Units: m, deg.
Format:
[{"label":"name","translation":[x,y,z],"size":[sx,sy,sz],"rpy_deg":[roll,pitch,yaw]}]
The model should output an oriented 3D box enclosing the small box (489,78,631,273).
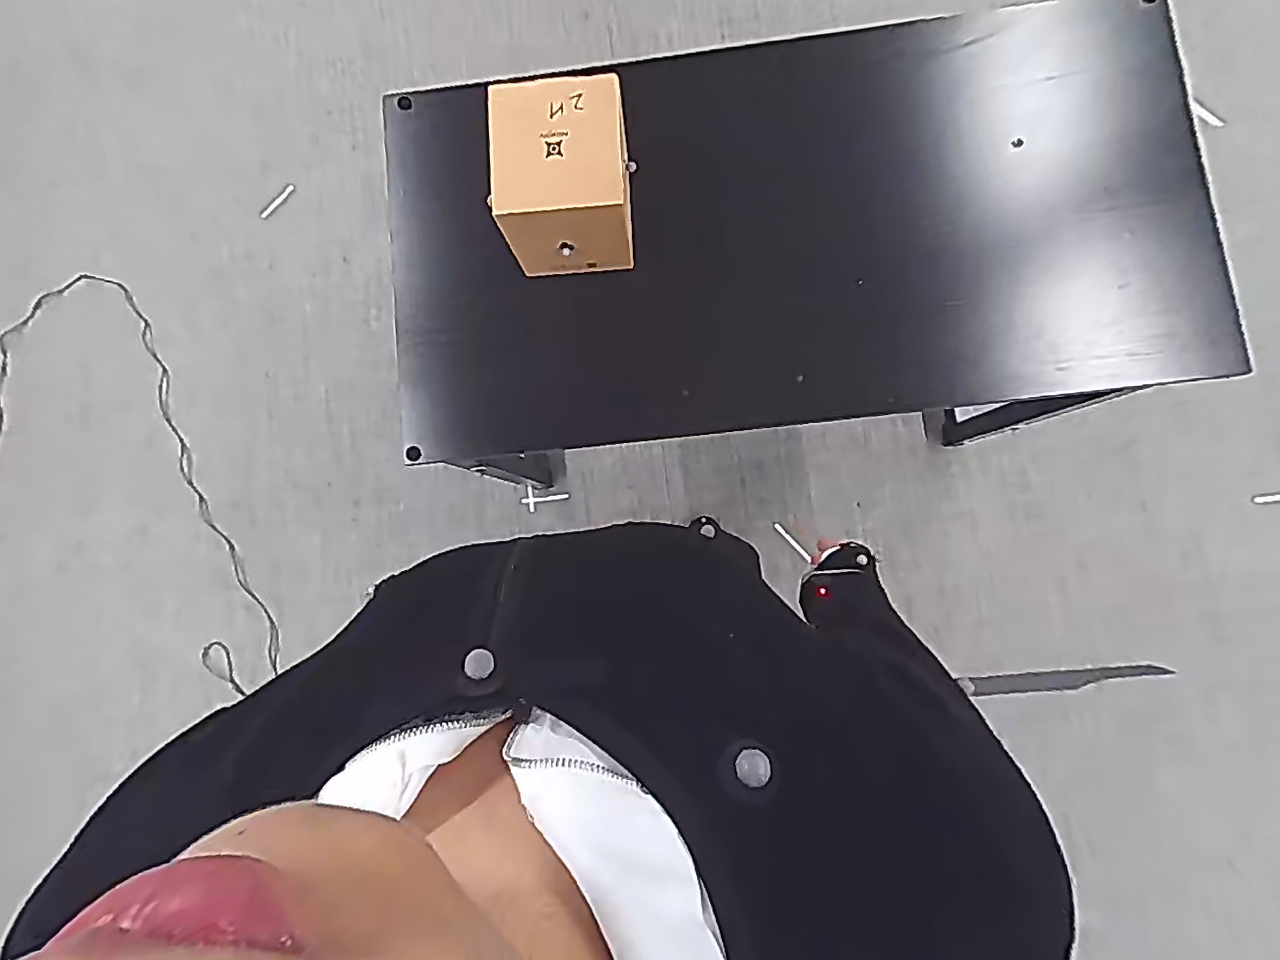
[{"label":"small box","translation":[-0.102,-0.405,0.753],"size":[0.168,0.176,0.179],"rpy_deg":[-3,83,3]}]
